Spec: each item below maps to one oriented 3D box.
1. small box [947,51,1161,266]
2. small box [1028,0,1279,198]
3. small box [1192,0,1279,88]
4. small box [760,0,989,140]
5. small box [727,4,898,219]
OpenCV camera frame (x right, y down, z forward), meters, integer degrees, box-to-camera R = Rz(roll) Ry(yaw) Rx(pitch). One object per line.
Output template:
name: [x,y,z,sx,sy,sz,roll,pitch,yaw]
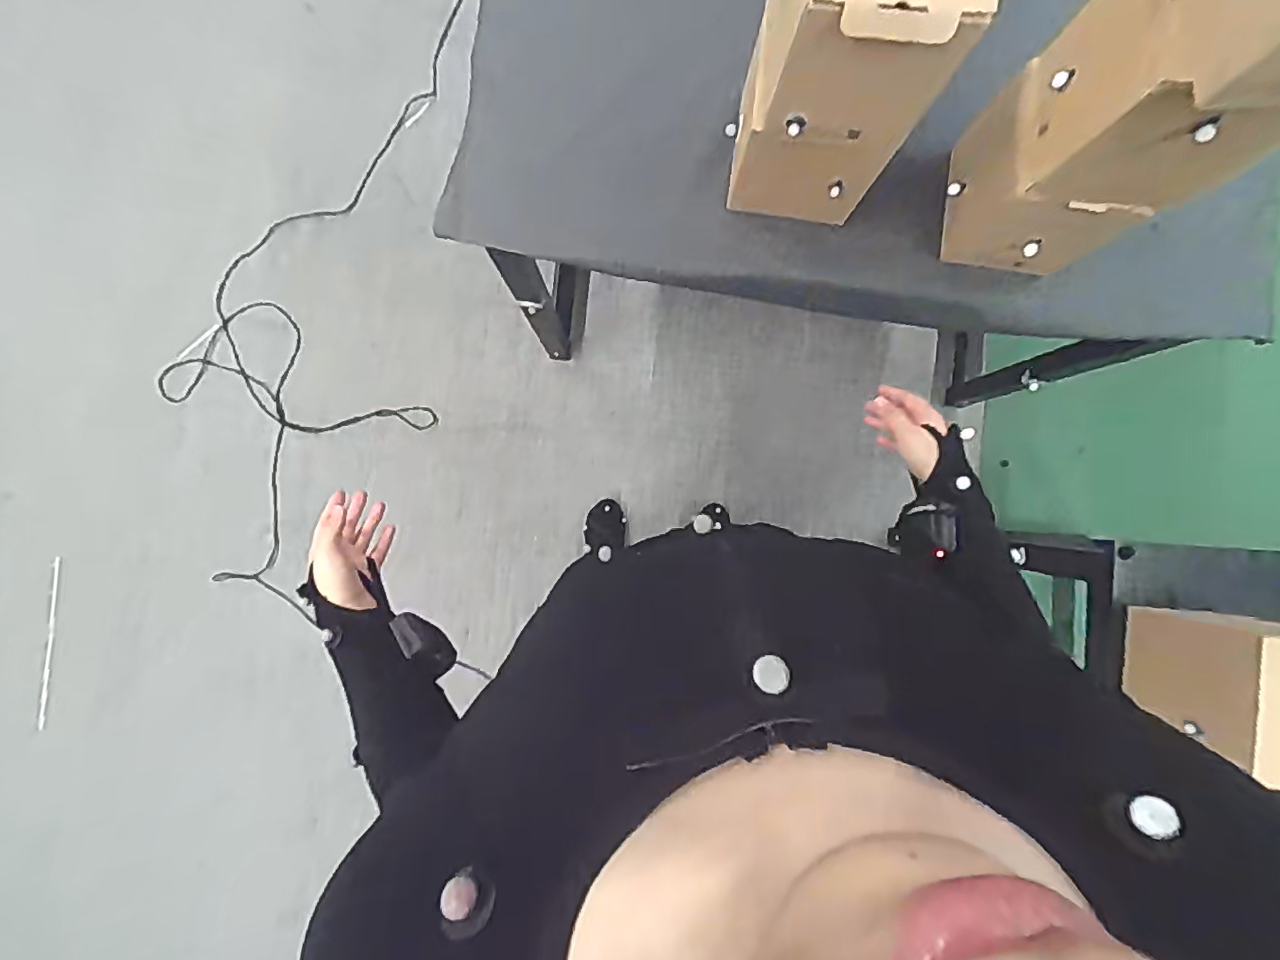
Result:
small box: [0.531,-0.403,0.707,0.168,0.176,0.179,8,87,1]
small box: [0.540,-0.411,0.544,0.179,0.176,0.168,6,87,1]
small box: [0.547,-0.412,0.379,0.168,0.176,0.179,-2,86,0]
small box: [0.223,-0.482,0.548,0.168,0.176,0.179,4,85,0]
small box: [0.222,-0.470,0.712,0.179,0.176,0.168,7,86,1]
